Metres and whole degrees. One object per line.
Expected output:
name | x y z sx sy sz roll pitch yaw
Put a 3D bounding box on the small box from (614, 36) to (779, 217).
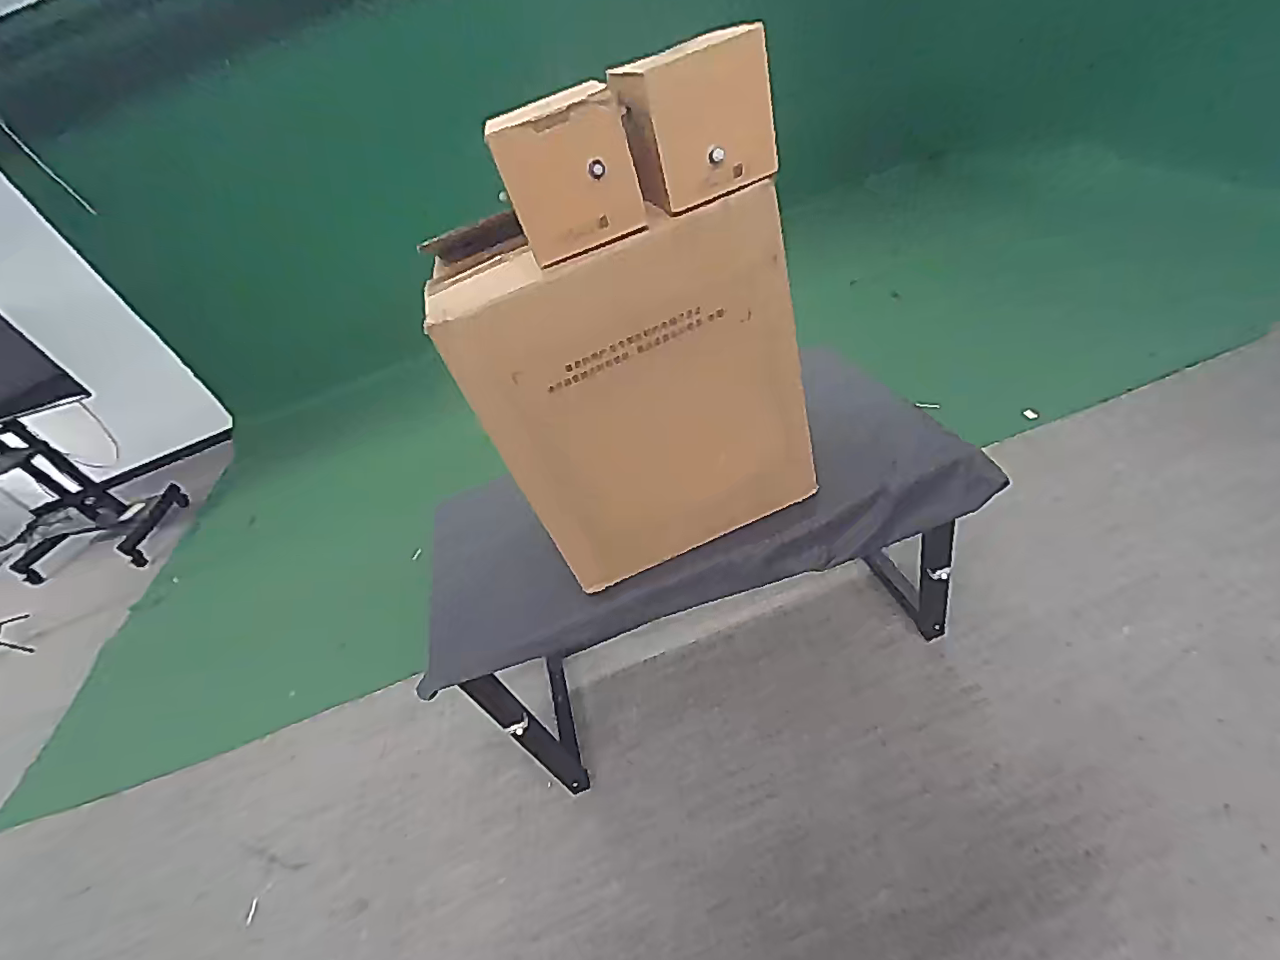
small box | 0.080 -0.497 0.771 0.168 0.176 0.179 -24 40 -3
